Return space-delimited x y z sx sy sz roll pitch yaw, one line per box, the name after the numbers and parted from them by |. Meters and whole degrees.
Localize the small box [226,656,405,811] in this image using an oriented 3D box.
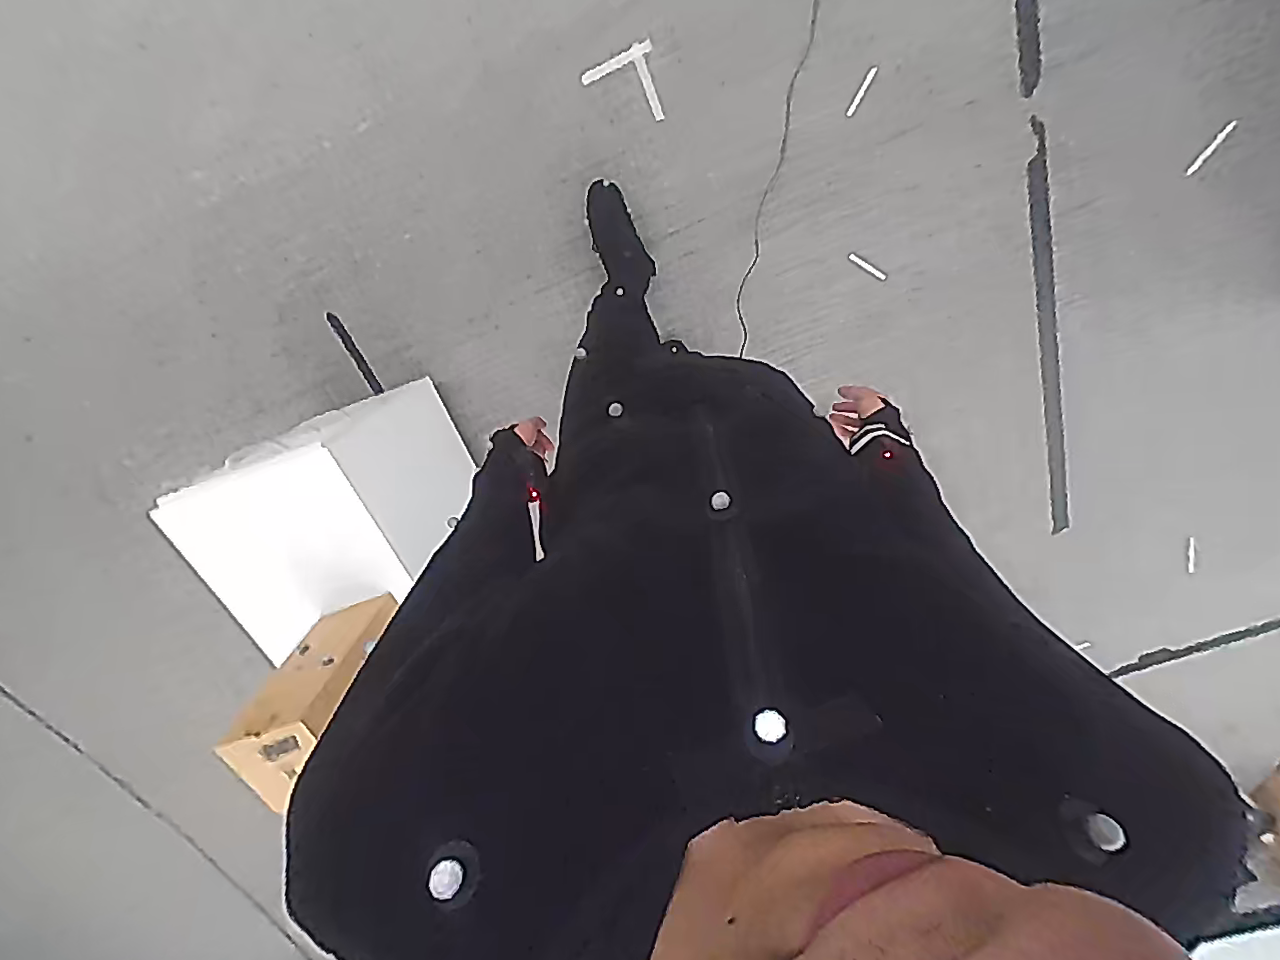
-0.554 0.434 0.952 0.168 0.176 0.179 -19 114 9 | small box

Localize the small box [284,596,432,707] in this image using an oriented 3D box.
-0.561 0.366 1.102 0.179 0.176 0.168 -20 113 9 | small box
